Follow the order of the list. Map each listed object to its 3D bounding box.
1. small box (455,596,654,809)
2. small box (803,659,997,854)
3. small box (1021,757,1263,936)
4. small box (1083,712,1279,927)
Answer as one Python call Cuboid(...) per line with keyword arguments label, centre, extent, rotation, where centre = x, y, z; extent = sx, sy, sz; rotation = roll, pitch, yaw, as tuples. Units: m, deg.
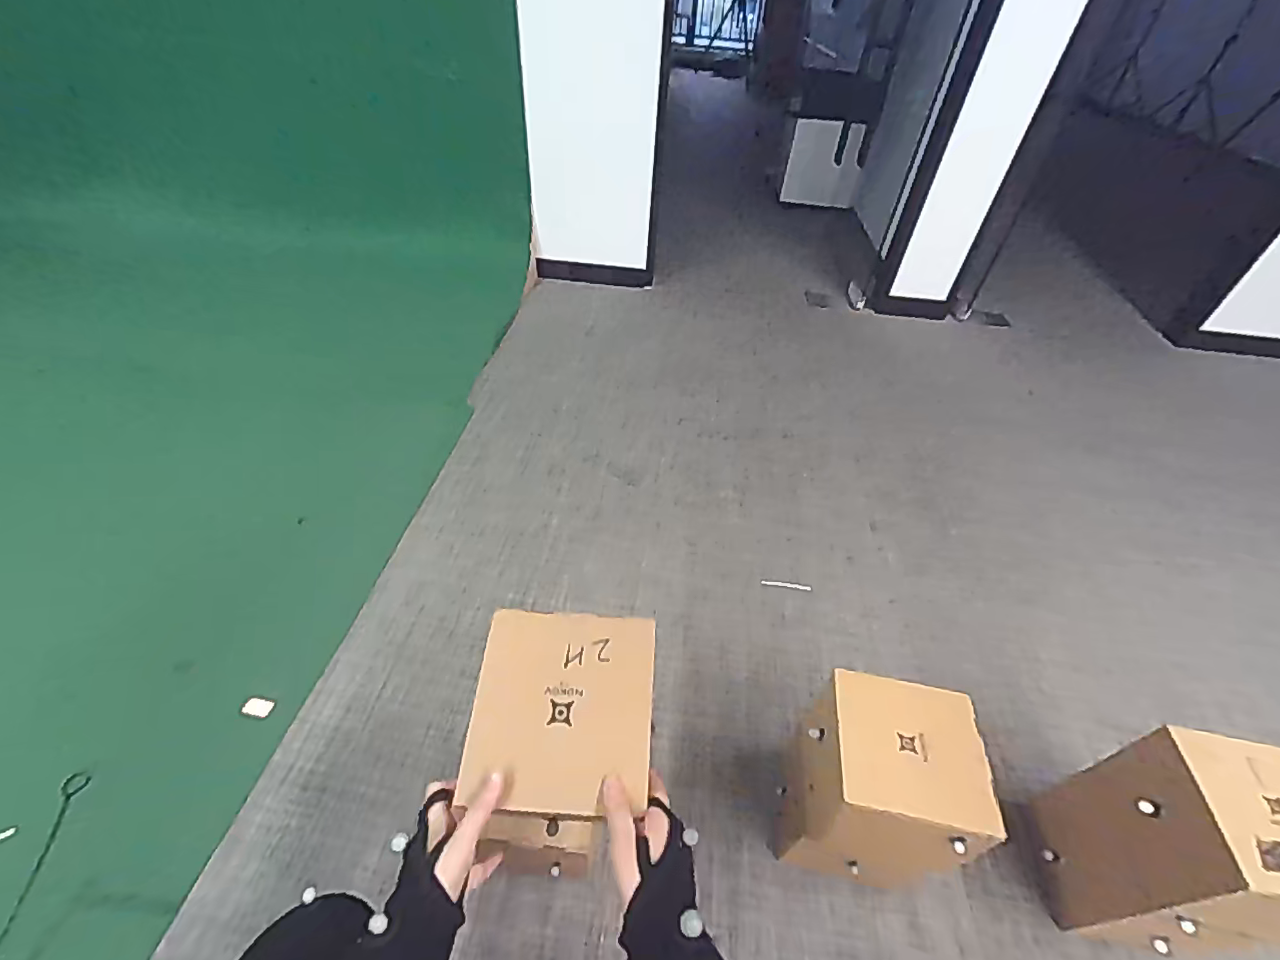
Cuboid(label="small box", centre=(-0.072, 0.238, 0.567), extent=(0.168, 0.176, 0.179), rotation=(3, 57, 1))
Cuboid(label="small box", centre=(0.318, 0.365, 0.710), extent=(0.179, 0.176, 0.168), rotation=(10, 44, 6))
Cuboid(label="small box", centre=(0.710, 0.541, 0.795), extent=(0.168, 0.176, 0.179), rotation=(9, 45, 4))
Cuboid(label="small box", centre=(0.717, 0.426, 0.676), extent=(0.168, 0.176, 0.179), rotation=(10, 44, 5))
